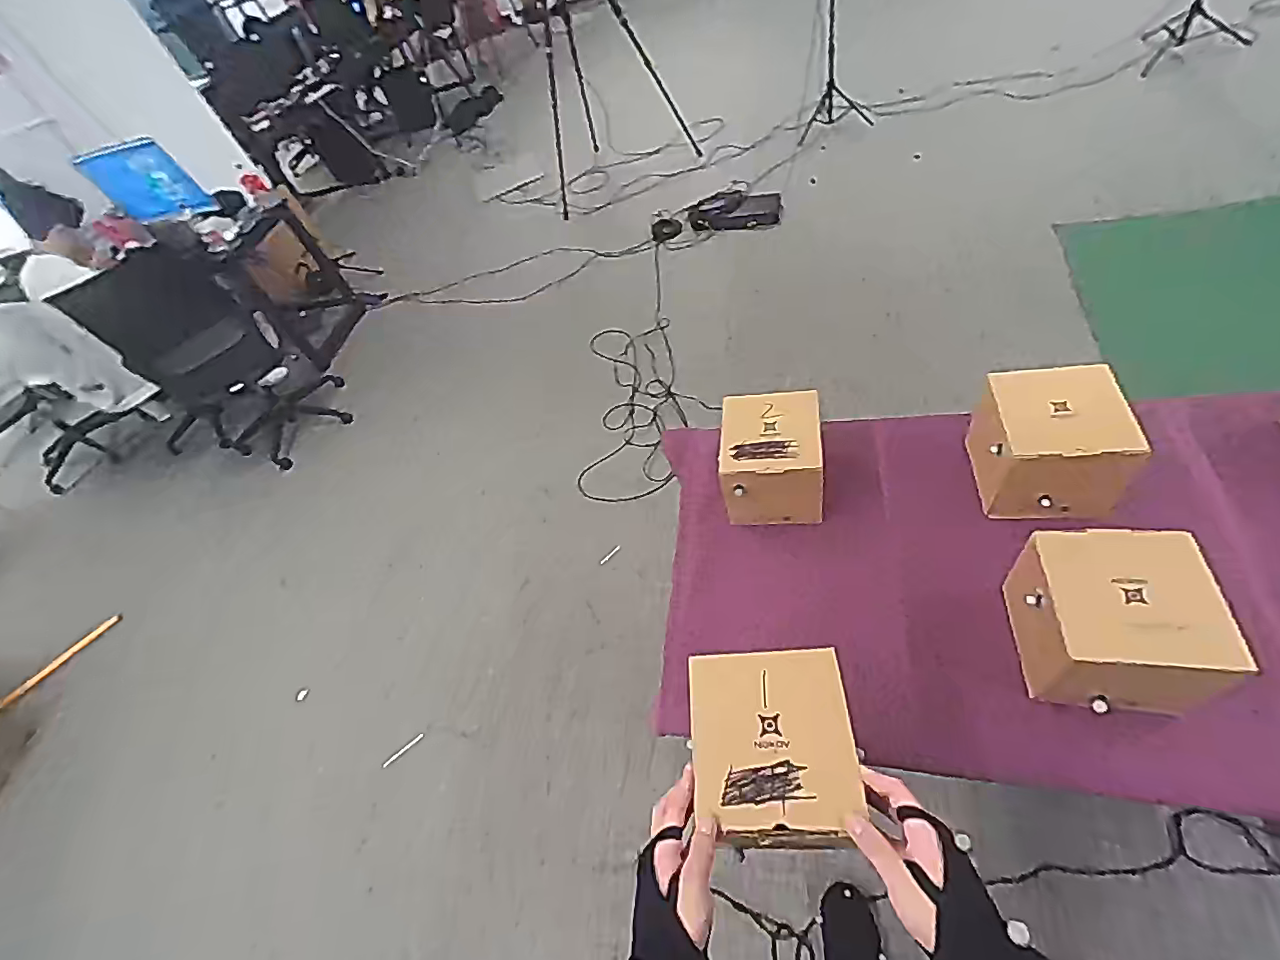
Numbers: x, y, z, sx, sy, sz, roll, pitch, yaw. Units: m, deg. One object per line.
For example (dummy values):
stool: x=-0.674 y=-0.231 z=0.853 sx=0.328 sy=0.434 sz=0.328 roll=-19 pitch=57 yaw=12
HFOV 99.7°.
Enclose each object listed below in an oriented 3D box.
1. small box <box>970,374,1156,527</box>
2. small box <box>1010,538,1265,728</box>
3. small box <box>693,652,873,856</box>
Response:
small box: x=0.650 y=-0.043 z=0.862 sx=0.168 sy=0.176 sz=0.179 roll=-2 pitch=53 yaw=16
small box: x=0.599 y=0.193 z=0.687 sx=0.168 sy=0.176 sz=0.179 roll=-1 pitch=52 yaw=18
small box: x=0.153 y=0.313 z=0.612 sx=0.168 sy=0.176 sz=0.179 roll=-6 pitch=50 yaw=10
